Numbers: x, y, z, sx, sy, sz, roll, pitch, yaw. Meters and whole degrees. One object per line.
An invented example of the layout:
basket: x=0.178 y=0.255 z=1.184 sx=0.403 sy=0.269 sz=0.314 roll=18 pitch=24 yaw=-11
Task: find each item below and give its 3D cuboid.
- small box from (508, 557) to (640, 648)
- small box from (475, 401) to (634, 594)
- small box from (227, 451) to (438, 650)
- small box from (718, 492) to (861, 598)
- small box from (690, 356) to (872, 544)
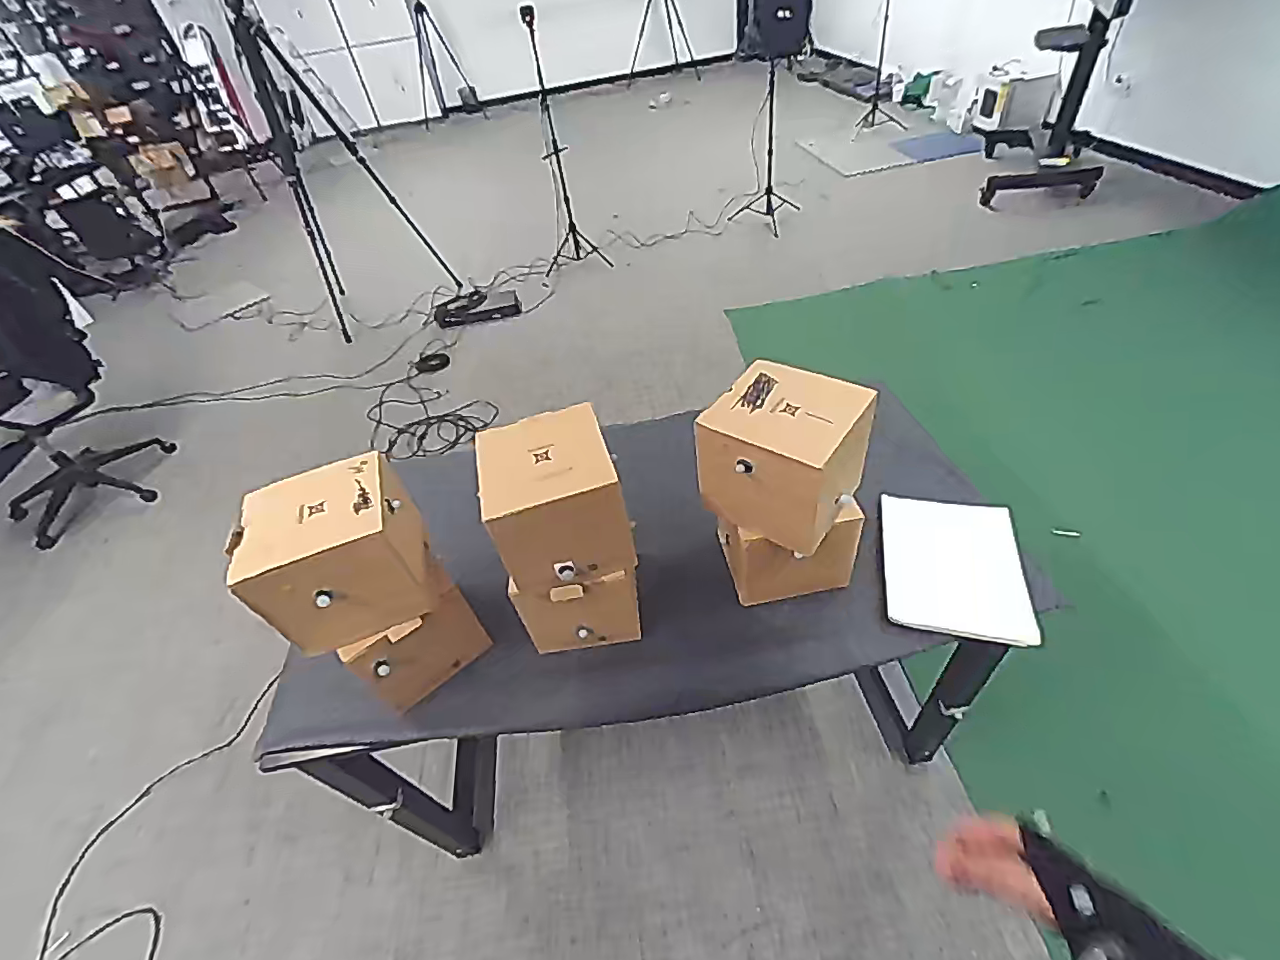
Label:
small box: x=-0.097 y=0.138 z=0.856 sx=0.168 sy=0.176 sz=0.179 roll=-10 pitch=44 yaw=3
small box: x=-0.116 y=0.024 z=0.742 sx=0.168 sy=0.176 sz=0.179 roll=-18 pitch=45 yaw=-5
small box: x=-0.396 y=0.096 z=0.724 sx=0.179 sy=0.176 sz=0.168 roll=-22 pitch=45 yaw=-9
small box: x=0.225 y=0.065 z=0.866 sx=0.179 sy=0.176 sz=0.168 roll=-12 pitch=44 yaw=0
small box: x=0.190 y=-0.041 z=0.744 sx=0.179 sy=0.176 sz=0.168 roll=25 pitch=55 yaw=31
